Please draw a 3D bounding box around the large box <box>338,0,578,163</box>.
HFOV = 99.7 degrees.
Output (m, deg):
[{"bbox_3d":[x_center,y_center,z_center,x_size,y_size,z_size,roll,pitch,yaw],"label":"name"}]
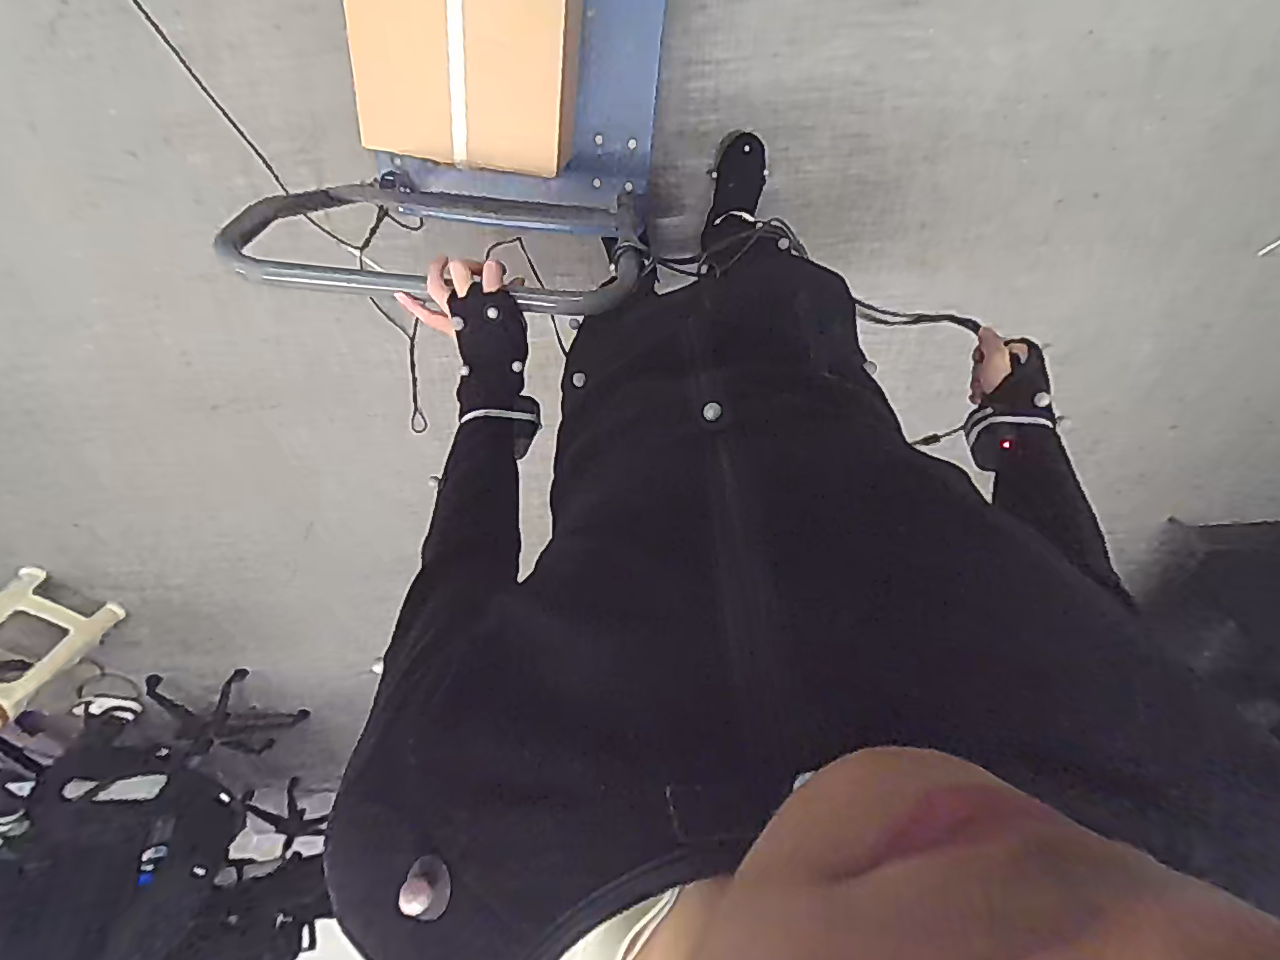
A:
[{"bbox_3d":[-0.267,-0.770,0.867,0.320,0.320,0.408,6,125,-7],"label":"large box"}]
